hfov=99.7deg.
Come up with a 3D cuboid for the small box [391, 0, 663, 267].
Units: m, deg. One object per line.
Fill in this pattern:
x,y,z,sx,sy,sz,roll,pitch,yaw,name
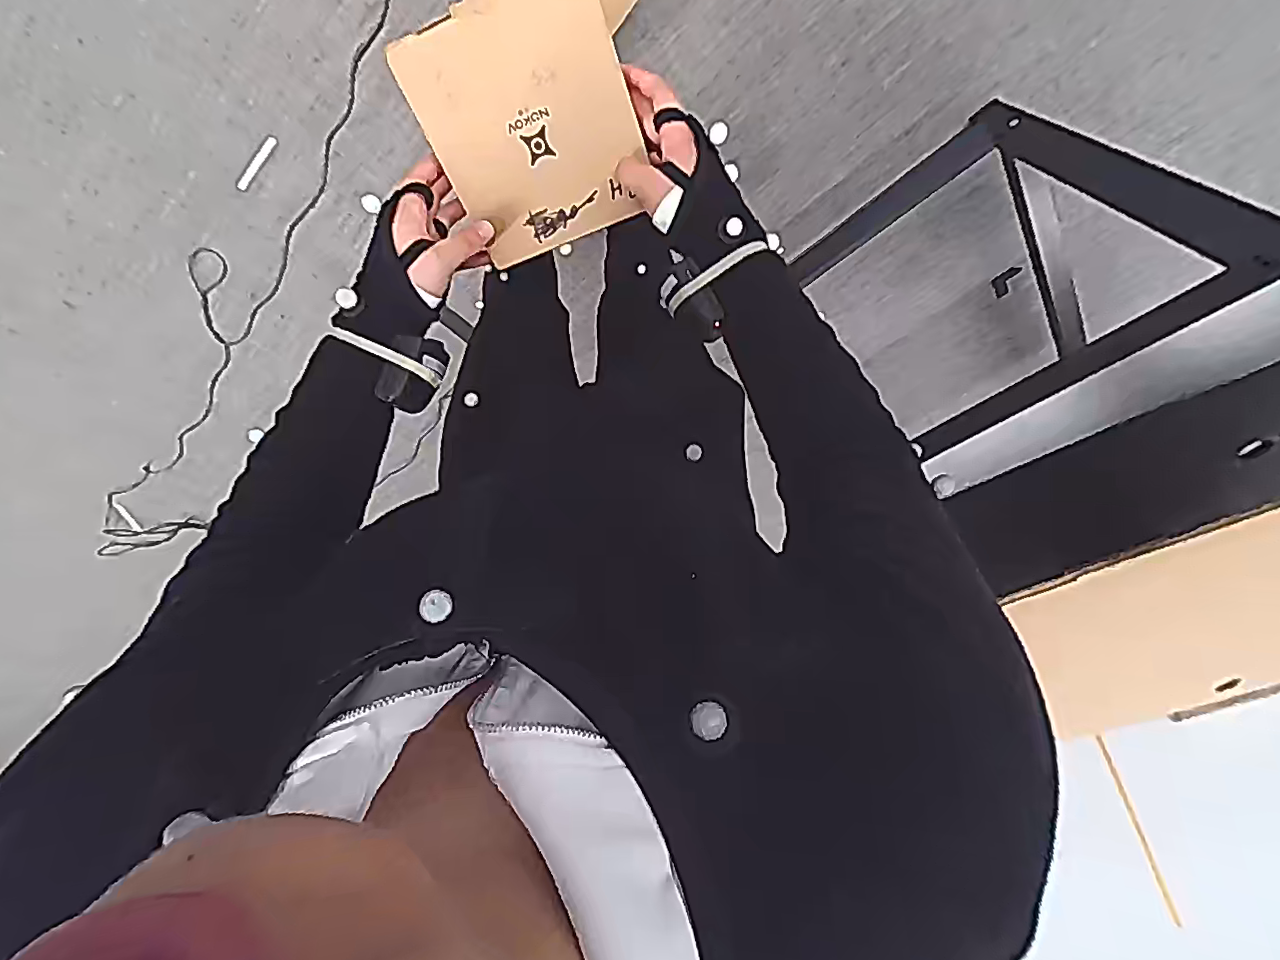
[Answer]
-0.089,-0.334,0.504,0.168,0.176,0.179,-19,127,11,small box
